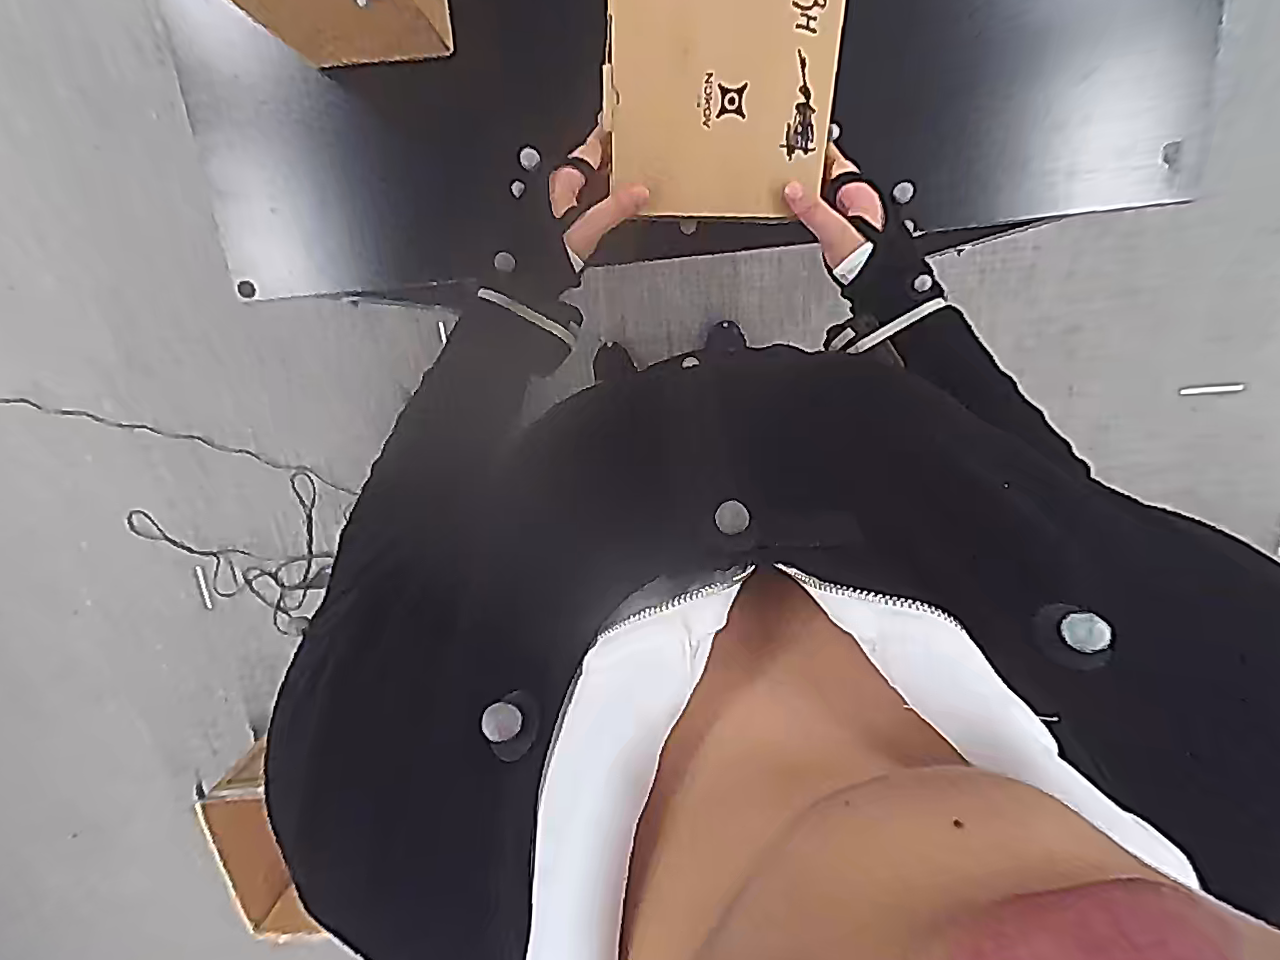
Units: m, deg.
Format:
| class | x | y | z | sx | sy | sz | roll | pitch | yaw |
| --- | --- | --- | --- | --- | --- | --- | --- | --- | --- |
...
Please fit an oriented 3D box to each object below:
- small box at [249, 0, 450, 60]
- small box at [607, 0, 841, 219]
| class | x | y | z | sx | sy | sz | roll | pitch | yaw |
| --- | --- | --- | --- | --- | --- | --- | --- | --- | --- |
| small box | -0.317 | -0.563 | 0.550 | 0.179 | 0.176 | 0.168 | -3 | 105 | 2 |
| small box | 0.065 | -0.337 | 0.498 | 0.179 | 0.176 | 0.168 | 2 | 114 | 1 |
